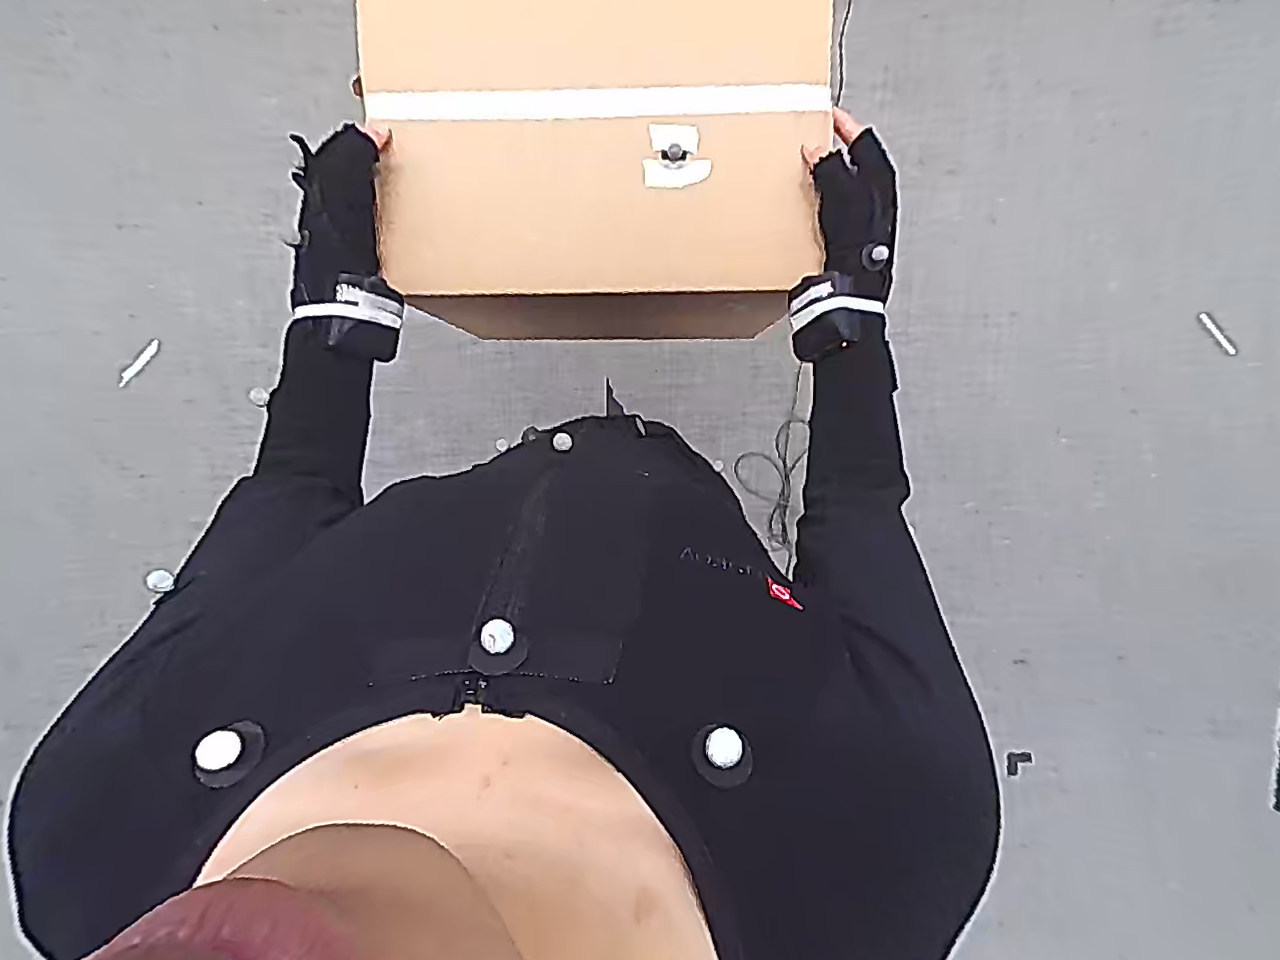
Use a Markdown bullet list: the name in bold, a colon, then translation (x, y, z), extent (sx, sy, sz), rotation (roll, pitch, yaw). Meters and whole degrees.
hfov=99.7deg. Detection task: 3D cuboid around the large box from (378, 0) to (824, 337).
- **large box**: translation (-0.034, -0.353, 0.638), extent (0.408, 0.320, 0.320), rotation (-1, 98, 0)
